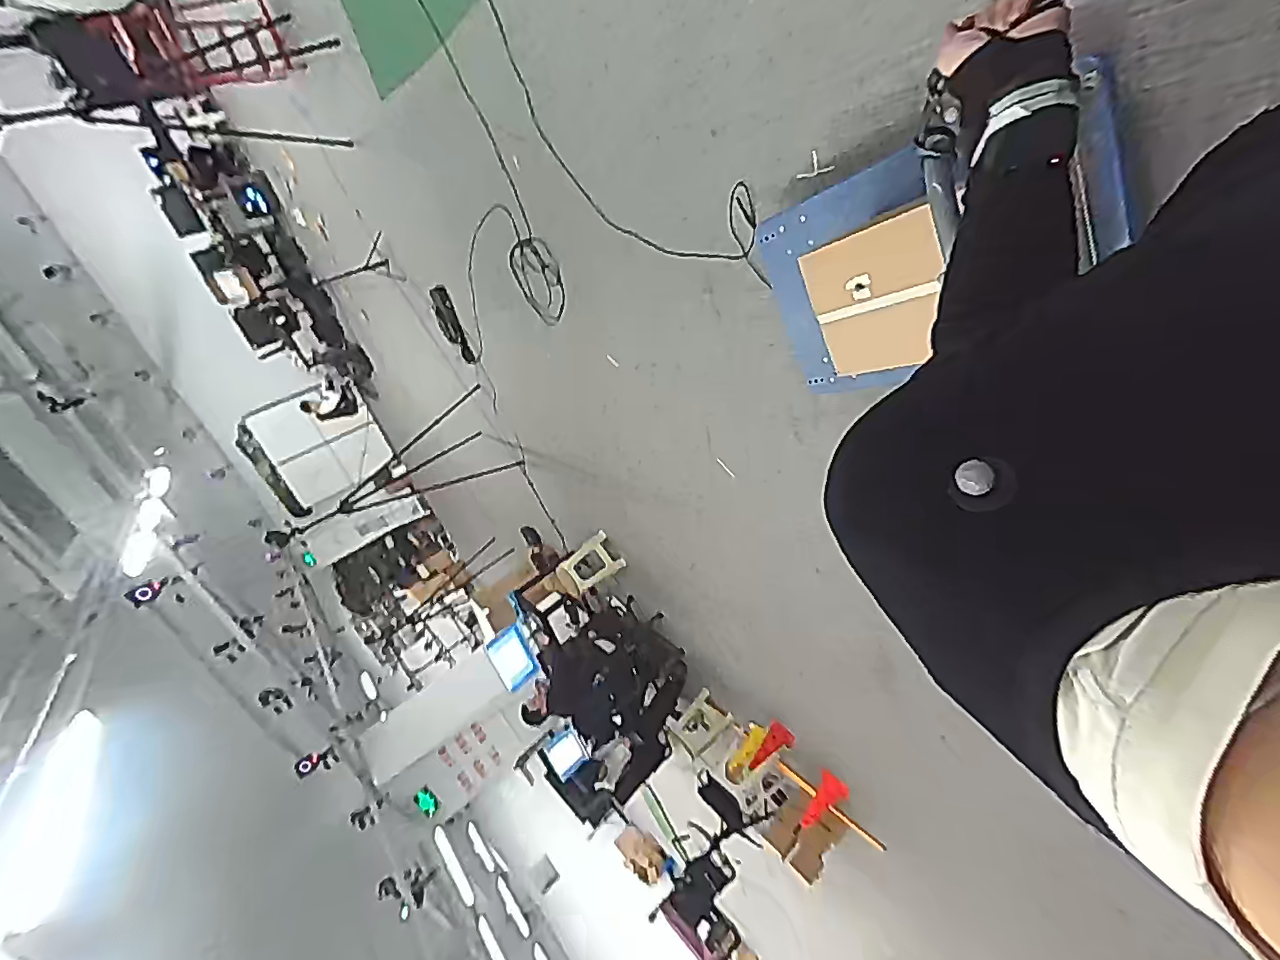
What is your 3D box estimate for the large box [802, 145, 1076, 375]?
[{"bbox_3d":[0.657,-0.468,1.214,0.408,0.320,0.320,3,122,58],"label":"large box"}]
